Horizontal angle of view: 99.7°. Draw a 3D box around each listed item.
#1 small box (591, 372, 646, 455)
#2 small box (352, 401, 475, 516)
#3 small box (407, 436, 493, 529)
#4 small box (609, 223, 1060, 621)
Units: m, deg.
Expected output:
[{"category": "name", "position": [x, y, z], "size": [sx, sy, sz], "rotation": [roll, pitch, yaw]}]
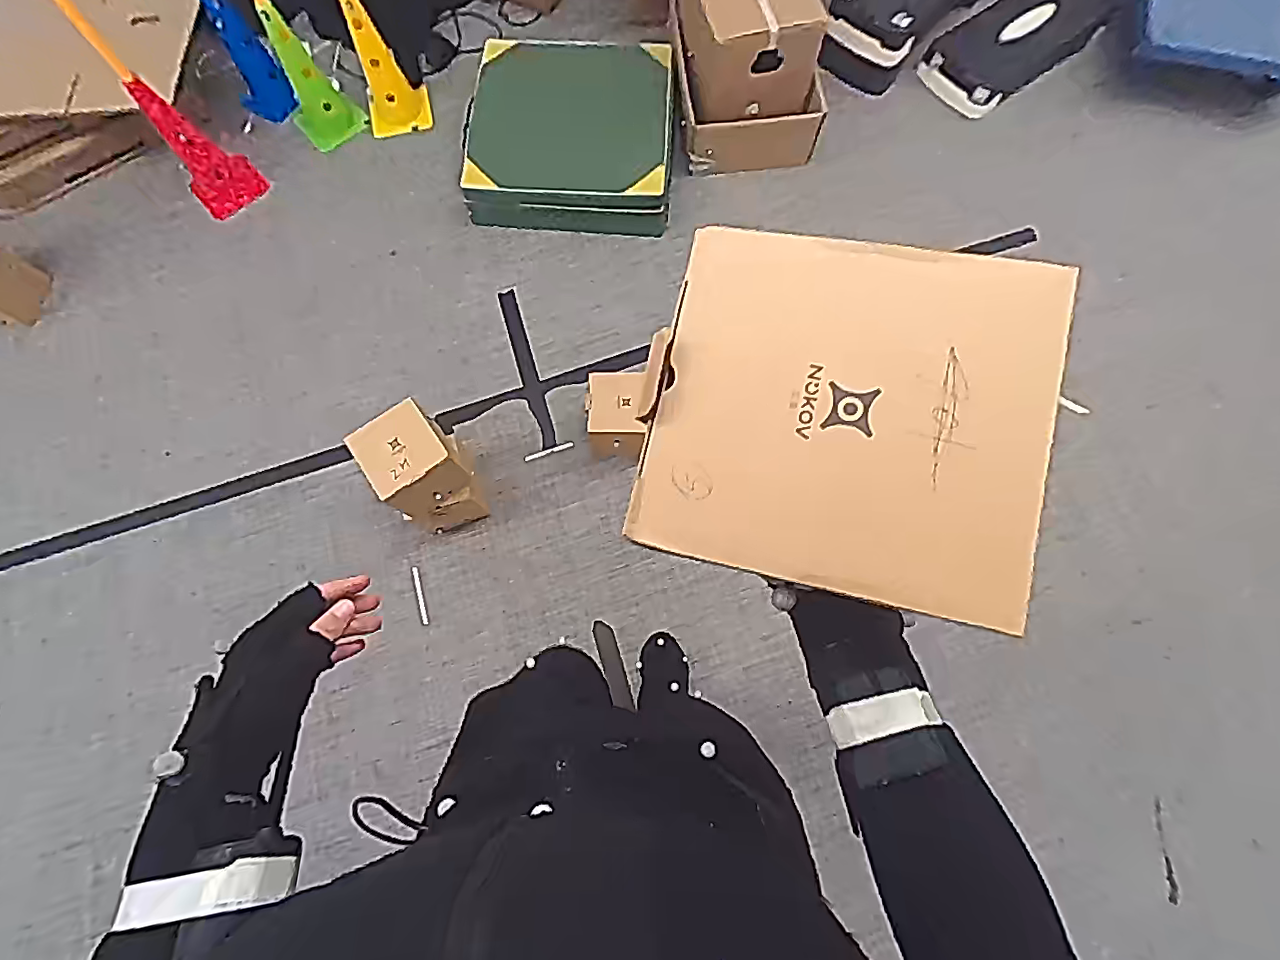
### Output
[{"category": "small box", "position": [-0.033, -0.168, 1.420], "size": [0.179, 0.176, 0.168], "rotation": [-2, 73, -1]}, {"category": "small box", "position": [-0.501, -0.040, 1.219], "size": [0.168, 0.176, 0.179], "rotation": [-32, 77, -7]}, {"category": "small box", "position": [-0.489, 0.016, 1.373], "size": [0.168, 0.176, 0.179], "rotation": [-19, 73, -4]}, {"category": "small box", "position": [0.100, -0.023, 0.327], "size": [0.179, 0.176, 0.168], "rotation": [12, 84, 12]}]
